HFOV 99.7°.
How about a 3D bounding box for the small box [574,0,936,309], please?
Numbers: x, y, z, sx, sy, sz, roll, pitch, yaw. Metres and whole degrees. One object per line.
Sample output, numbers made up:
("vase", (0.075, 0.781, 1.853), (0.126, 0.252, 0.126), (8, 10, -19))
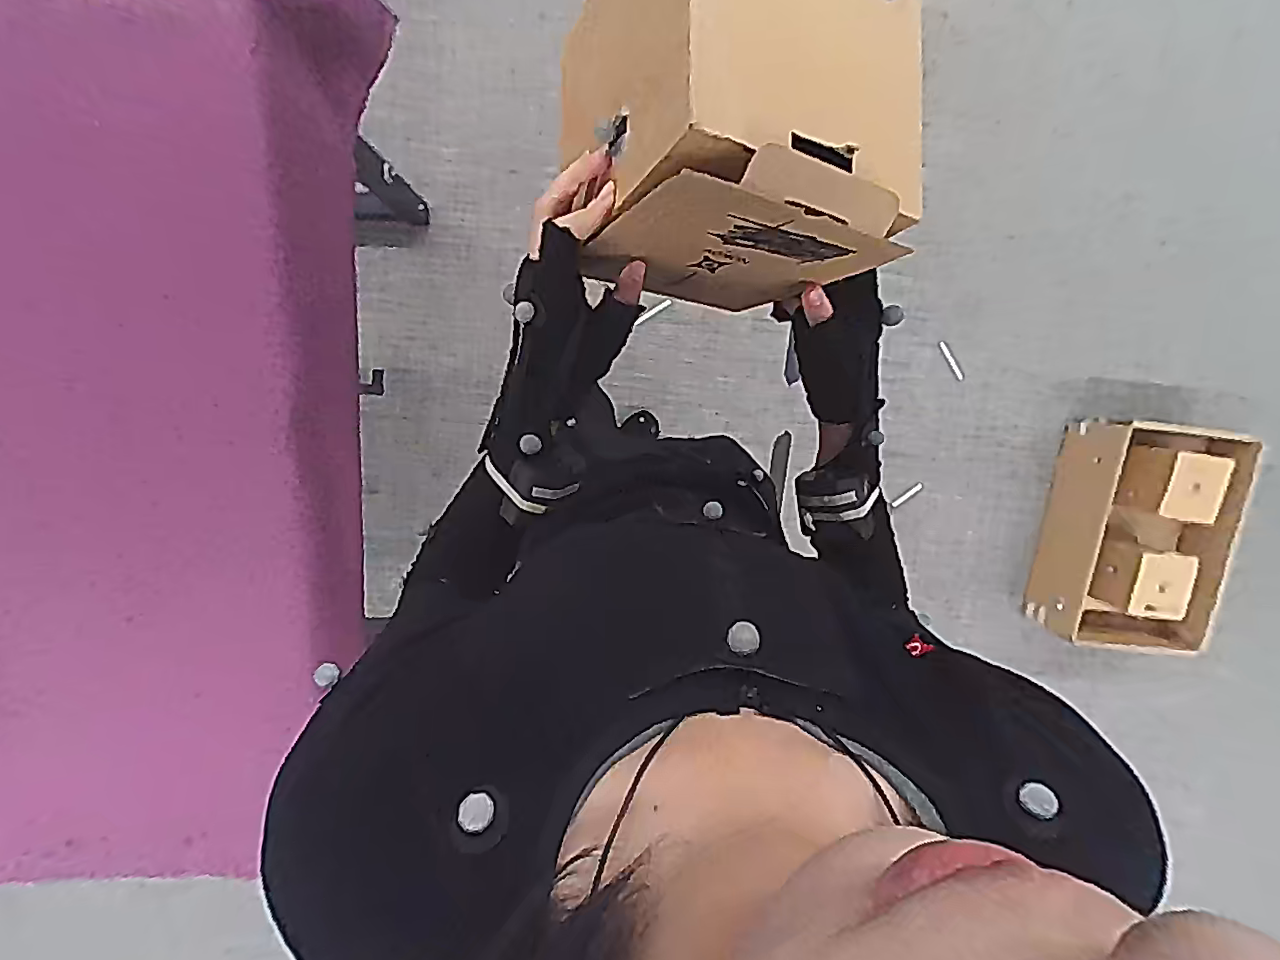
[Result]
("small box", (0.063, -0.237, 0.357), (0.168, 0.179, 0.176), (4, 86, -28))

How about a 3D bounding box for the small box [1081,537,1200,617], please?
("small box", (1.389, 0.265, 1.513), (0.168, 0.176, 0.179), (6, 96, -3))

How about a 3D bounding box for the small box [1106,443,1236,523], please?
("small box", (1.433, 0.004, 1.473), (0.168, 0.176, 0.179), (9, 99, -5))
